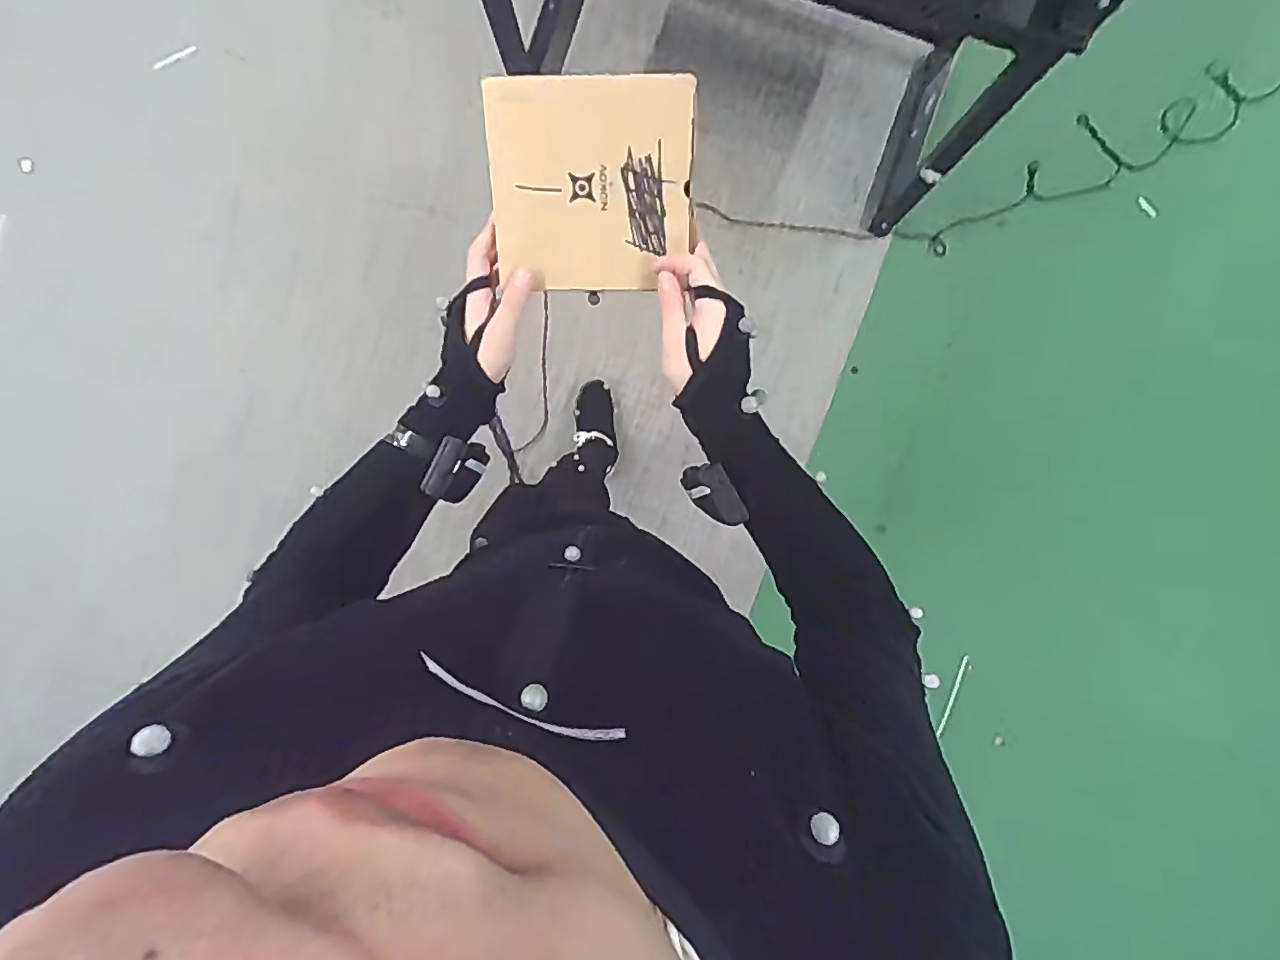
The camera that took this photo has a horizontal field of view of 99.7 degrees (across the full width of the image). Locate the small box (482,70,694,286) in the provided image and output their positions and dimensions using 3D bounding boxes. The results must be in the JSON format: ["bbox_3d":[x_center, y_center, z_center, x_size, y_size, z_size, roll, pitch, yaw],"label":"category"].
[{"bbox_3d":[-0.040,-0.284,0.540,0.179,0.176,0.168,0,111,3],"label":"small box"}]
